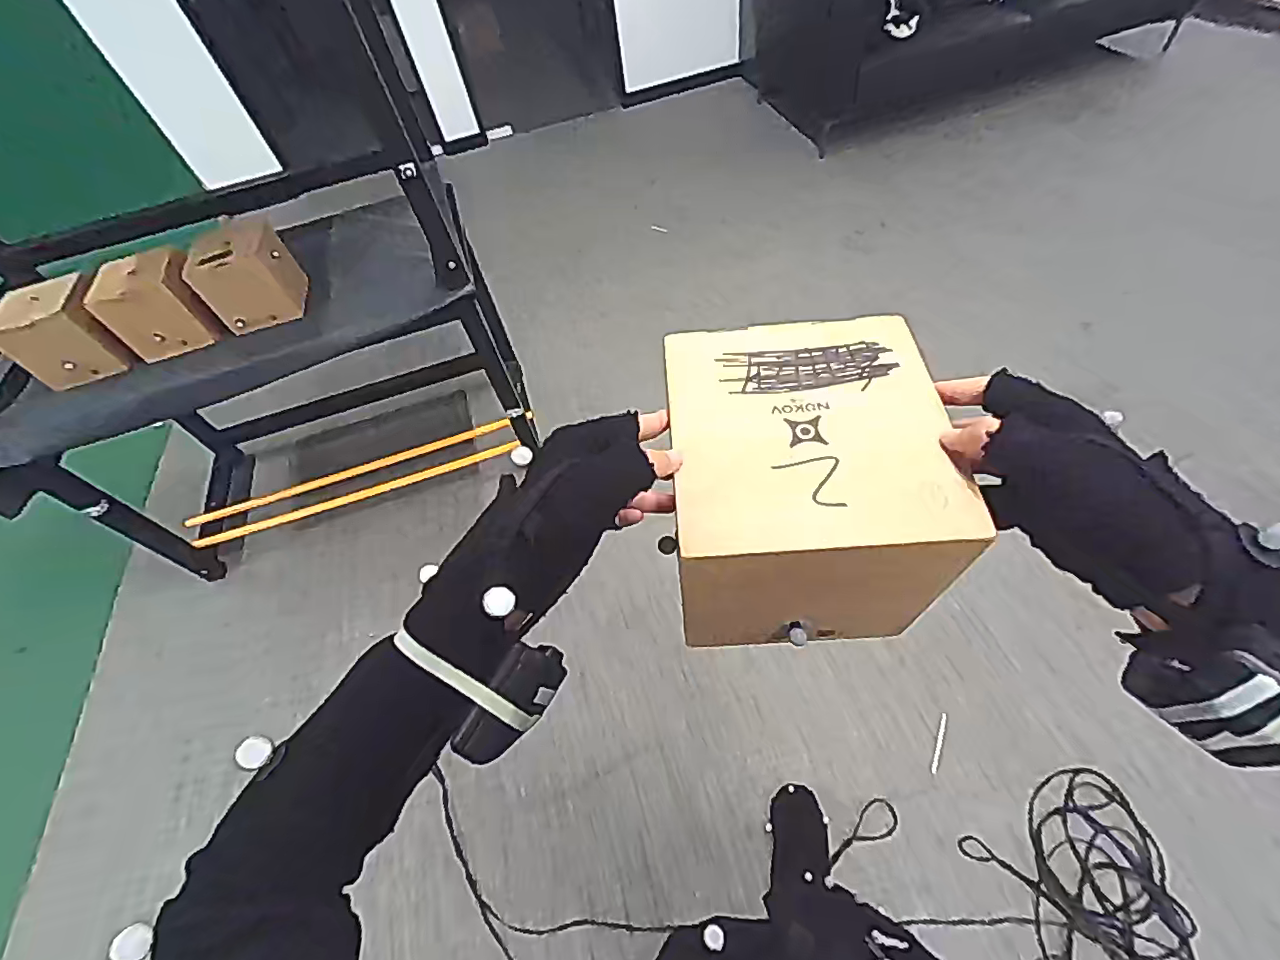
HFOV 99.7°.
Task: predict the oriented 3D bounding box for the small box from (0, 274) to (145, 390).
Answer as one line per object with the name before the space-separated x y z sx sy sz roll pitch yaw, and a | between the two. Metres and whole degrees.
small box | -1.313 -0.341 1.256 0.168 0.176 0.179 -20 54 -6
